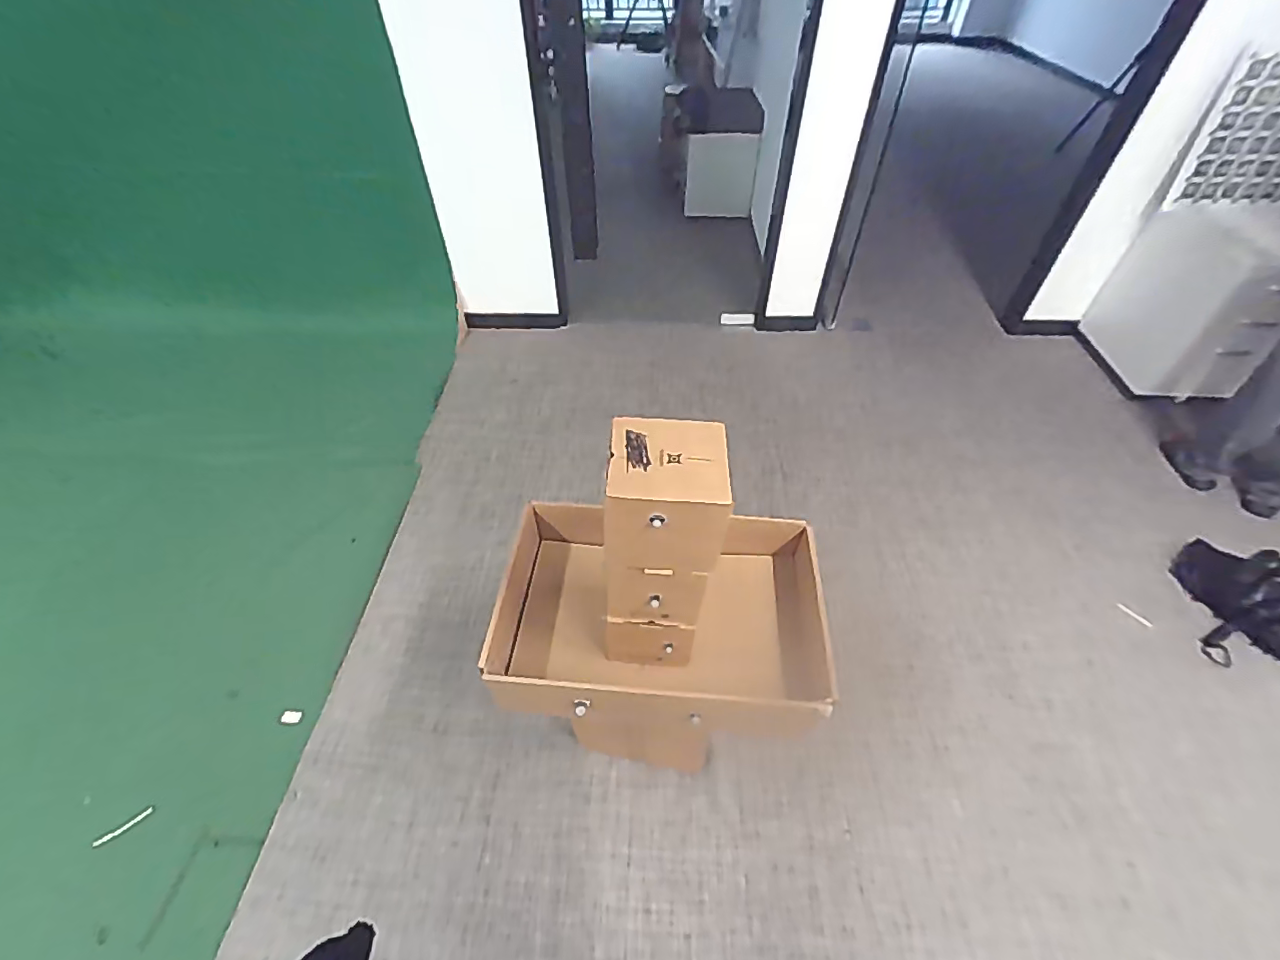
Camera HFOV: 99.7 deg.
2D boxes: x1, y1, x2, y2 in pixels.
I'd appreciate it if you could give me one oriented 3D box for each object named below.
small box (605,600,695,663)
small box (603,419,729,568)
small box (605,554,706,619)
[{"bbox_3d":[0.023,0.249,1.085,0.168,0.176,0.179,4,46,1],"label":"small box"},{"bbox_3d":[0.036,0.024,0.846,0.179,0.176,0.168,4,48,0],"label":"small box"},{"bbox_3d":[0.030,0.132,0.970,0.168,0.176,0.179,5,49,1],"label":"small box"}]
